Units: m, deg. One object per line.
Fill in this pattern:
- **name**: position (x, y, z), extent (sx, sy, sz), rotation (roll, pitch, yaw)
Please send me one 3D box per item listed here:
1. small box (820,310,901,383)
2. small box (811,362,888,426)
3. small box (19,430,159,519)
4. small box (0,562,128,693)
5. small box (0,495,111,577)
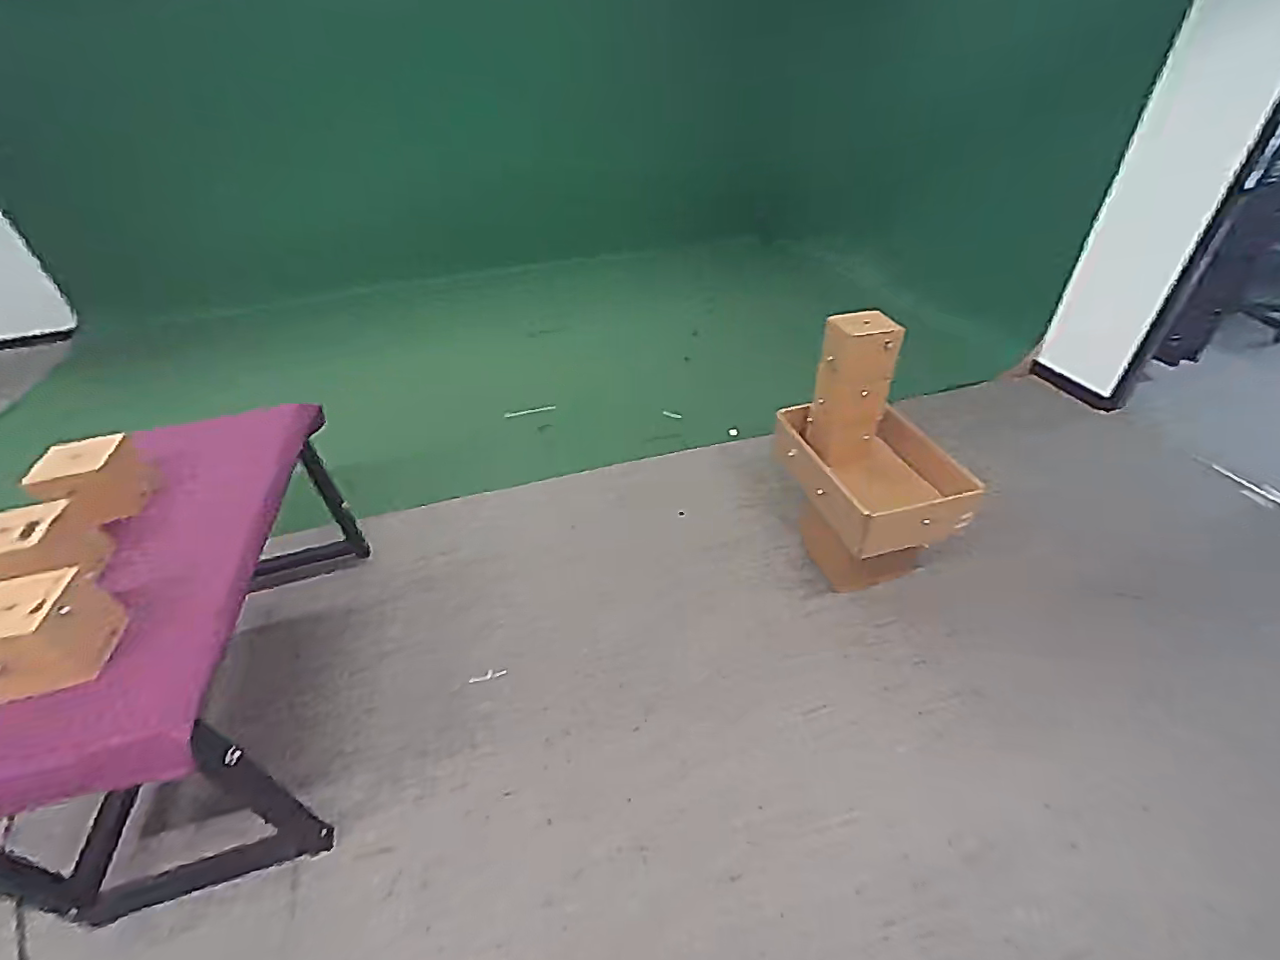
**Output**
- **small box**: position (0.710, -0.435, 1.762), extent (0.179, 0.176, 0.168), rotation (-9, 39, -6)
- **small box**: position (0.716, -0.307, 1.866), extent (0.179, 0.176, 0.168), rotation (-10, 39, -8)
- **small box**: position (-1.473, -0.009, 1.461), extent (0.179, 0.176, 0.168), rotation (-13, 42, -12)
- **small box**: position (-1.196, 0.295, 1.073), extent (0.179, 0.176, 0.168), rotation (-12, 41, -10)
- **small box**: position (-1.396, 0.163, 1.247), extent (0.179, 0.176, 0.168), rotation (-14, 41, -11)
